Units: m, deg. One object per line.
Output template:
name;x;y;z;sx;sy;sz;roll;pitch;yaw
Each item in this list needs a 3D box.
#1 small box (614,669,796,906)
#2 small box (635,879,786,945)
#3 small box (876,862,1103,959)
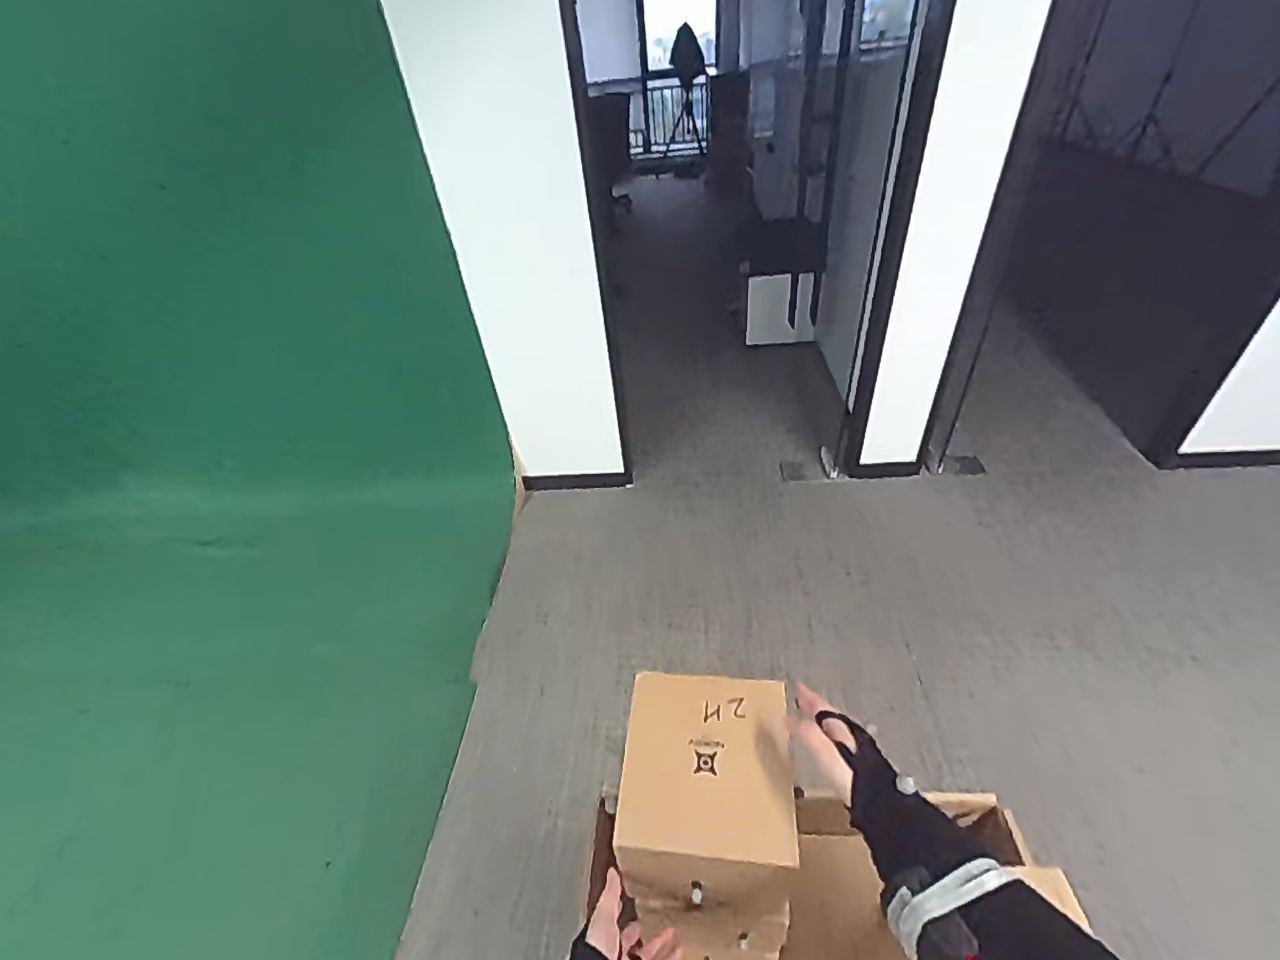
small box;0.073;0.334;0.591;0.168;0.176;0.179;3;41;8
small box;0.090;0.463;0.691;0.168;0.176;0.179;1;40;7
small box;0.370;0.530;0.570;0.168;0.176;0.179;-3;40;4
